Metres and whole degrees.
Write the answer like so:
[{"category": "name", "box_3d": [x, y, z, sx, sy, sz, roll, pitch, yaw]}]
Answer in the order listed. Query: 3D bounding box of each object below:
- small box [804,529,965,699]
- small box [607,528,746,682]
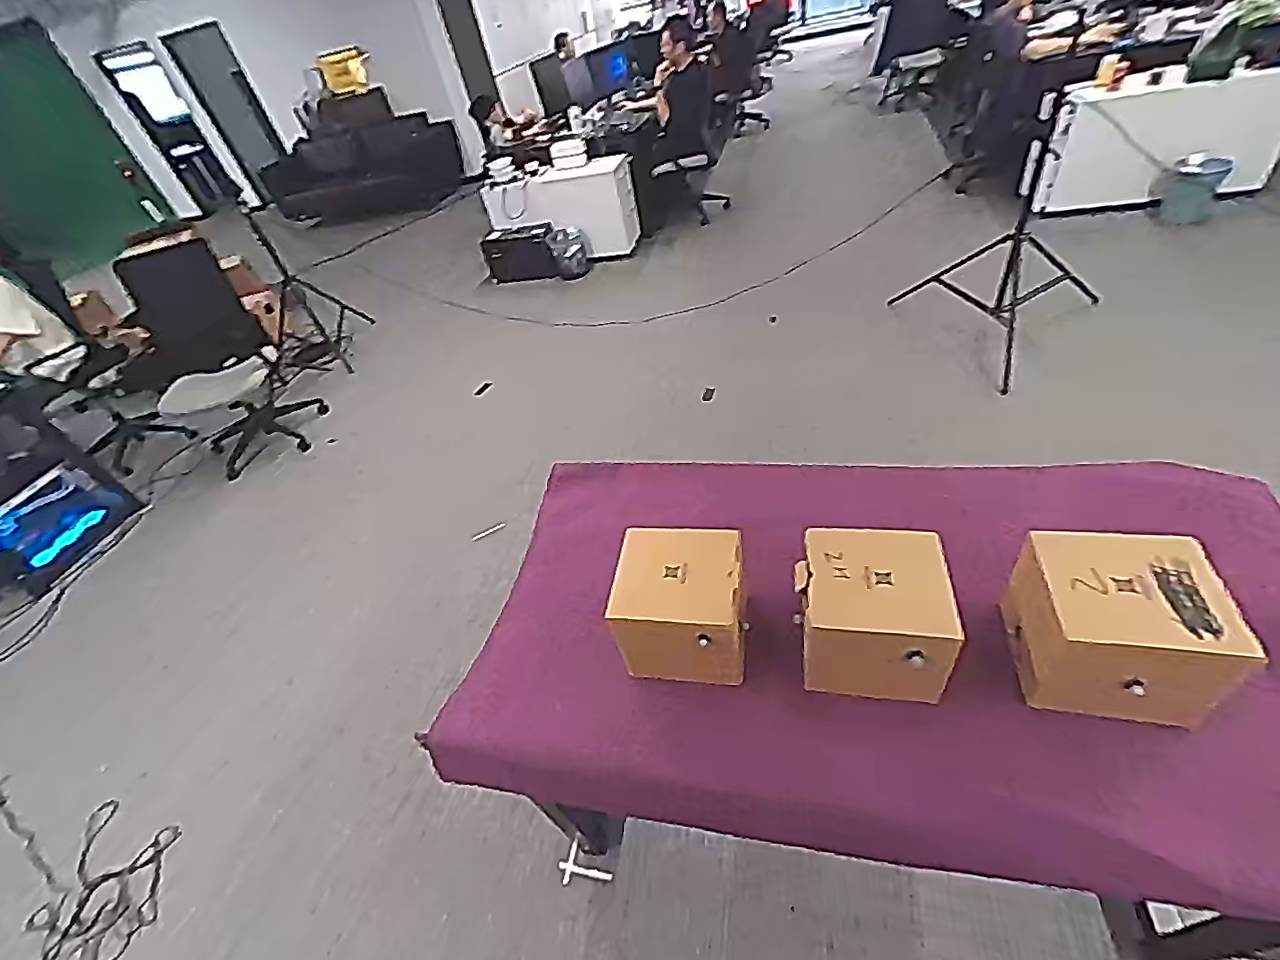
[{"category": "small box", "box_3d": [0.324, 0.187, 0.756, 0.179, 0.176, 0.168, 0, 43, 16]}, {"category": "small box", "box_3d": [0.067, 0.191, 0.825, 0.179, 0.176, 0.168, 0, 44, 14]}]
